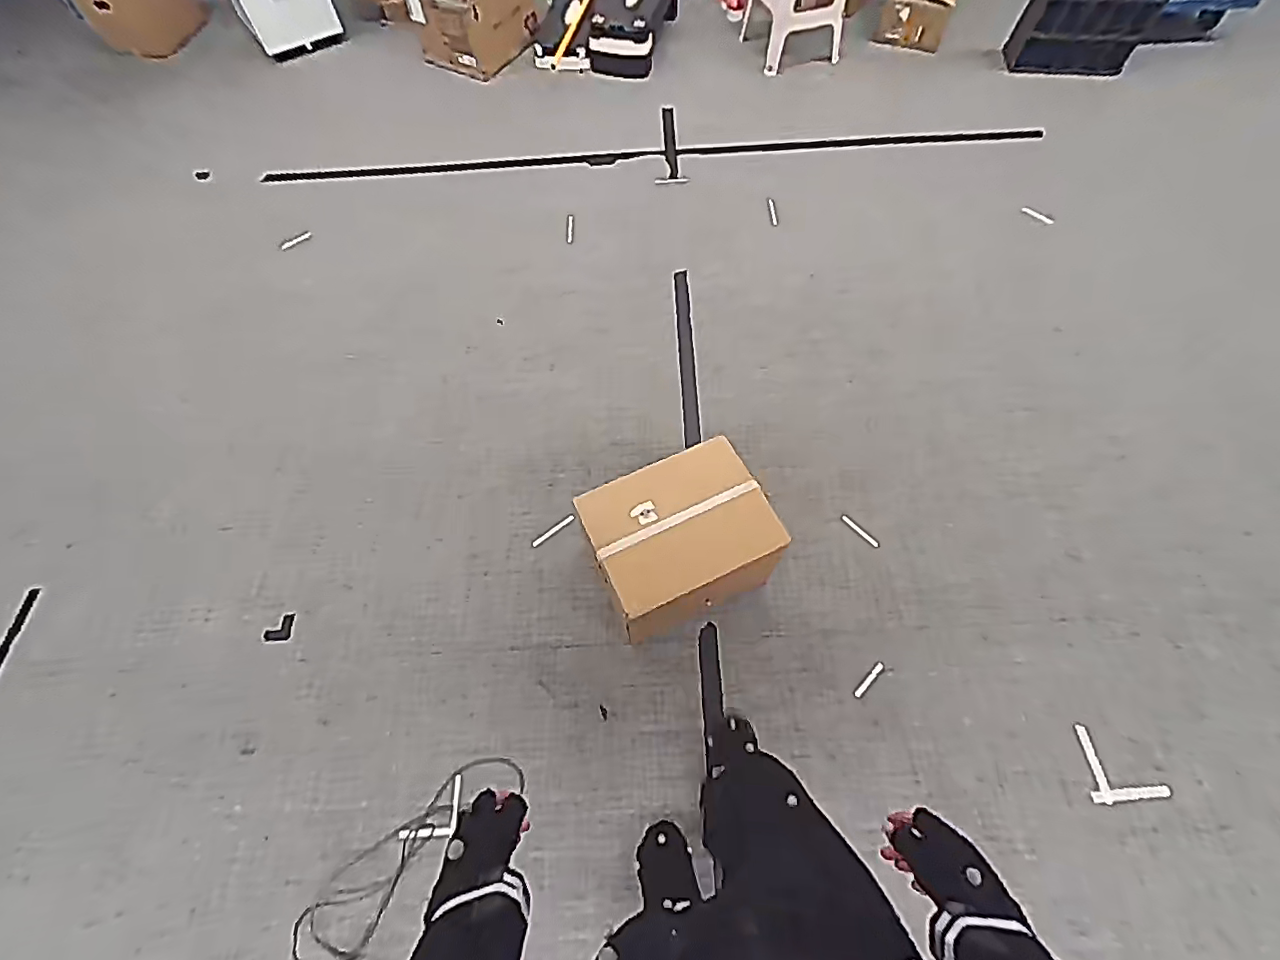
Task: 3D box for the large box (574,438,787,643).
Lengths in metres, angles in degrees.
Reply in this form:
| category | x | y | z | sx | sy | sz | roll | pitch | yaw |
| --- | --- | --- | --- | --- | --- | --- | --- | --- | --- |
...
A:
| category | x | y | z | sx | sy | sz | roll | pitch | yaw |
| --- | --- | --- | --- | --- | --- | --- | --- | --- | --- |
| large box | 0.092 | 0.162 | 1.362 | 0.408 | 0.320 | 0.320 | -24 | 65 | -9 |
